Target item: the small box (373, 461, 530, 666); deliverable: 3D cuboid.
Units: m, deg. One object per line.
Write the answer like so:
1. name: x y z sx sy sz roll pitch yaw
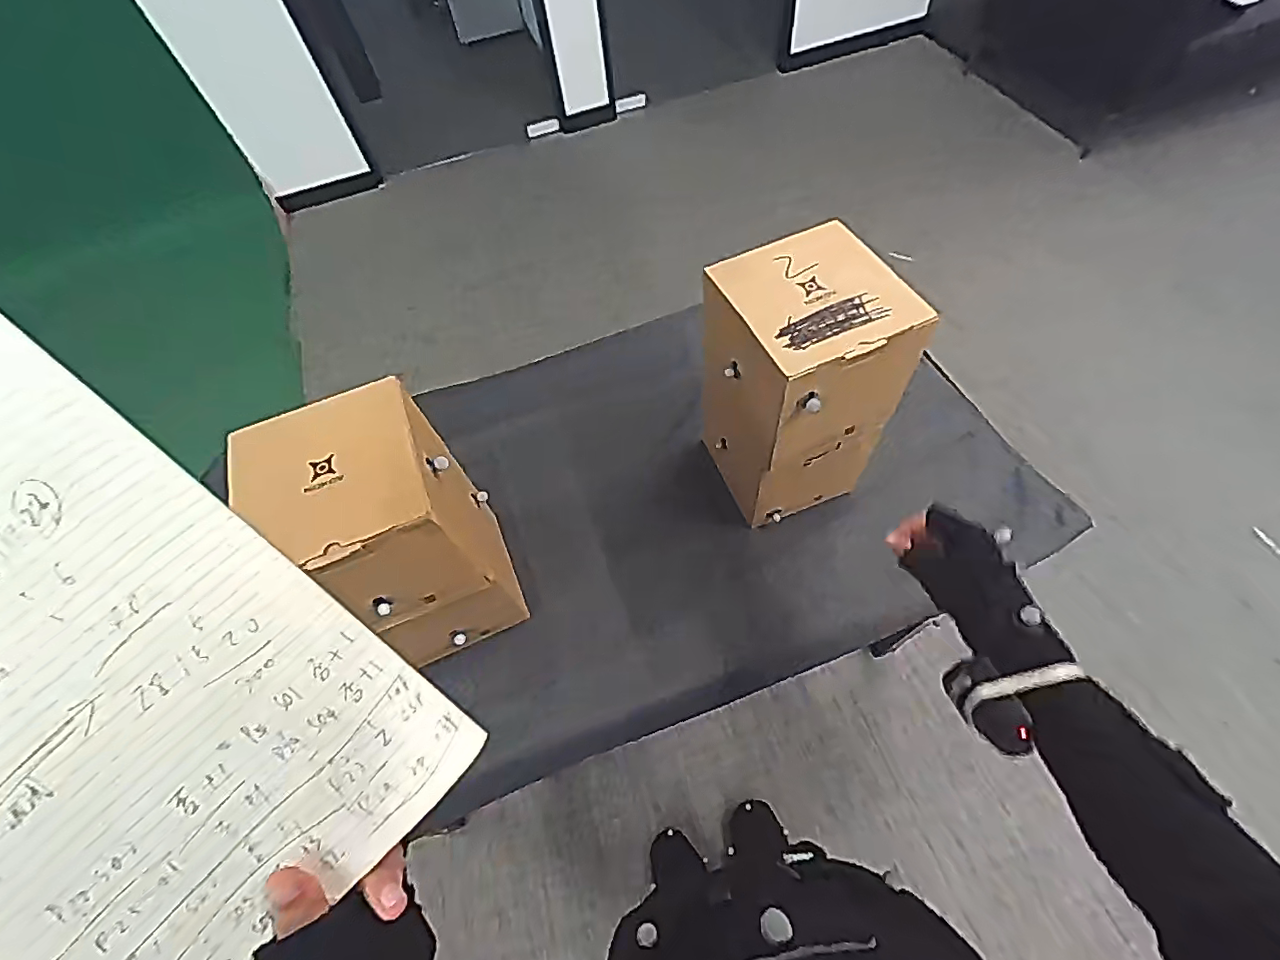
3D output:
1. small box: -0.260 0.112 0.697 0.168 0.176 0.179 -24 60 -8

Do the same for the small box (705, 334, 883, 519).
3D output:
1. small box: 0.200 -0.064 0.756 0.168 0.176 0.179 -20 58 -6

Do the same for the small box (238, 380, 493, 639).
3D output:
1. small box: -0.270 0.035 0.554 0.168 0.176 0.179 -22 60 -8
